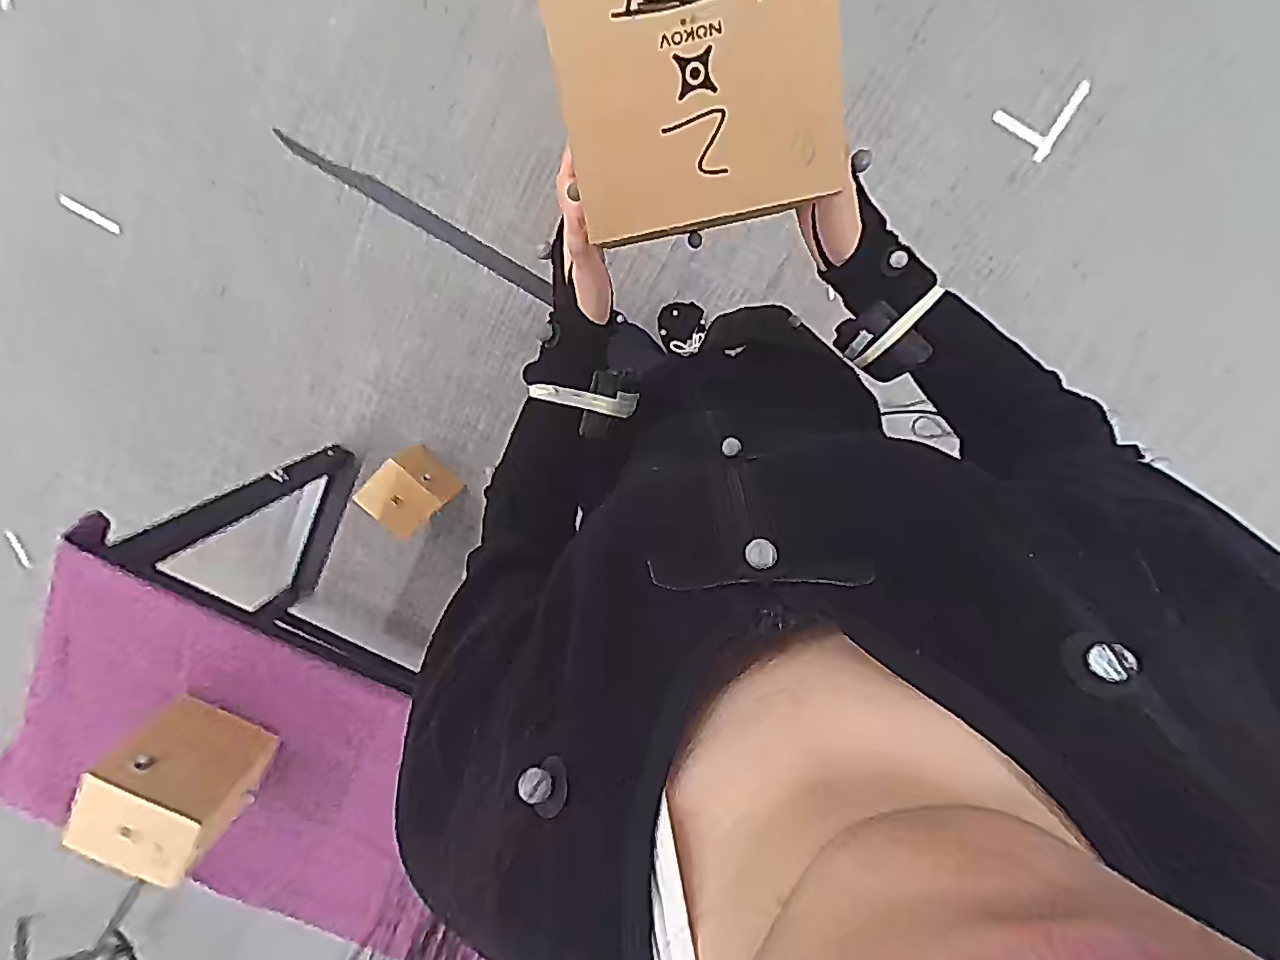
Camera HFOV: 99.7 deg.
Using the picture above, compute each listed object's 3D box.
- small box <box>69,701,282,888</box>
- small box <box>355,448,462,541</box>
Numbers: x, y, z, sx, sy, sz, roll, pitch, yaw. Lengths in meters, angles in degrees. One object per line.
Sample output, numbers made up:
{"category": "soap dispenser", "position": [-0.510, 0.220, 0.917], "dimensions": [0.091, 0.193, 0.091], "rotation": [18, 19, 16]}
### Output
{"category": "small box", "position": [-0.729, 0.490, 0.866], "dimensions": [0.179, 0.176, 0.168], "rotation": [30, 108, -8]}
{"category": "small box", "position": [-0.624, 0.030, 1.479], "dimensions": [0.168, 0.176, 0.179], "rotation": [-42, 104, 13]}
